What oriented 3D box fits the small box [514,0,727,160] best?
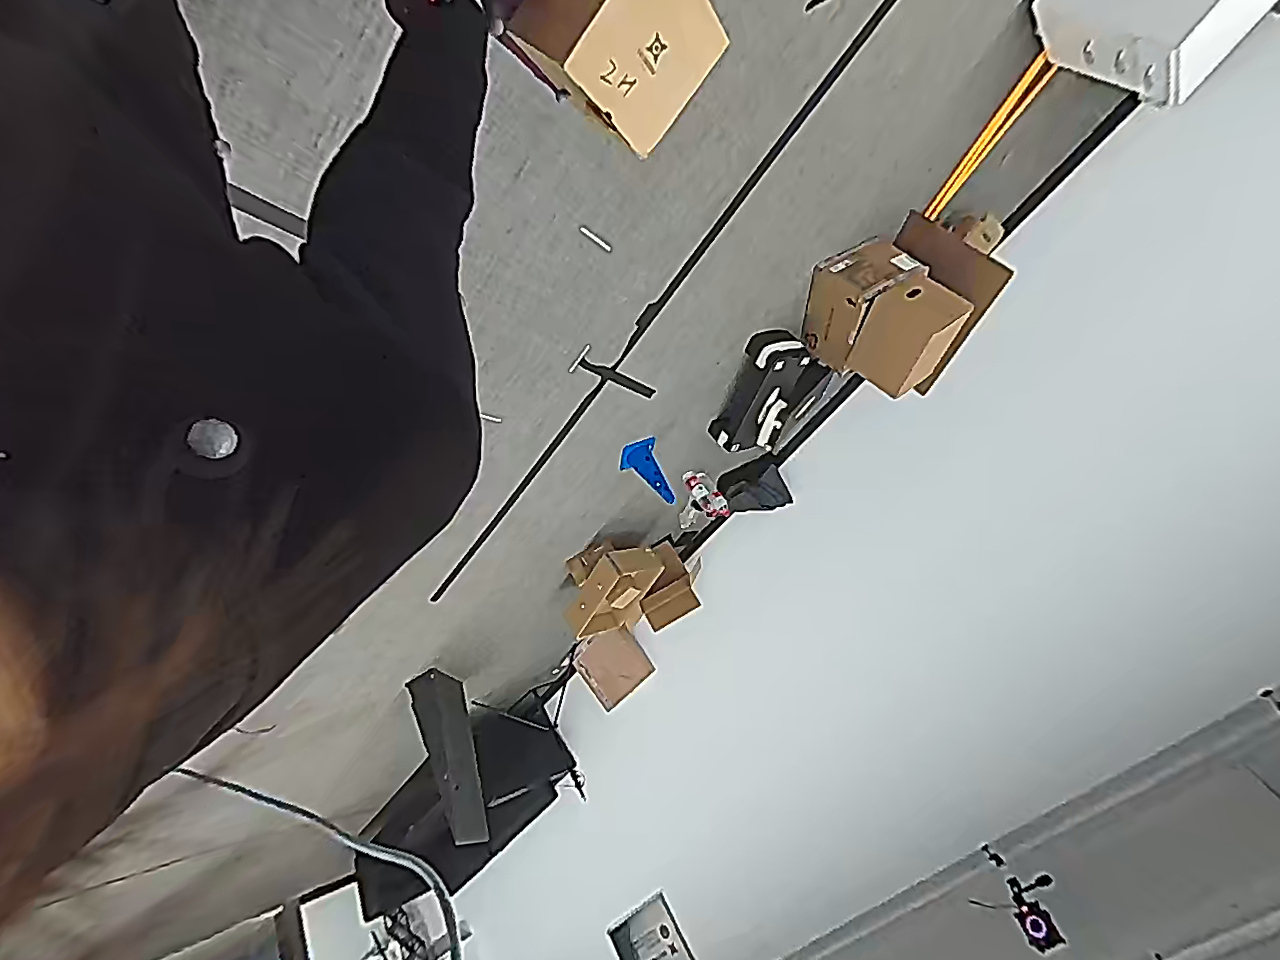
[{"bbox_3d":[-0.030,-0.563,0.684,0.179,0.176,0.168,-48,147,17],"label":"small box"}]
